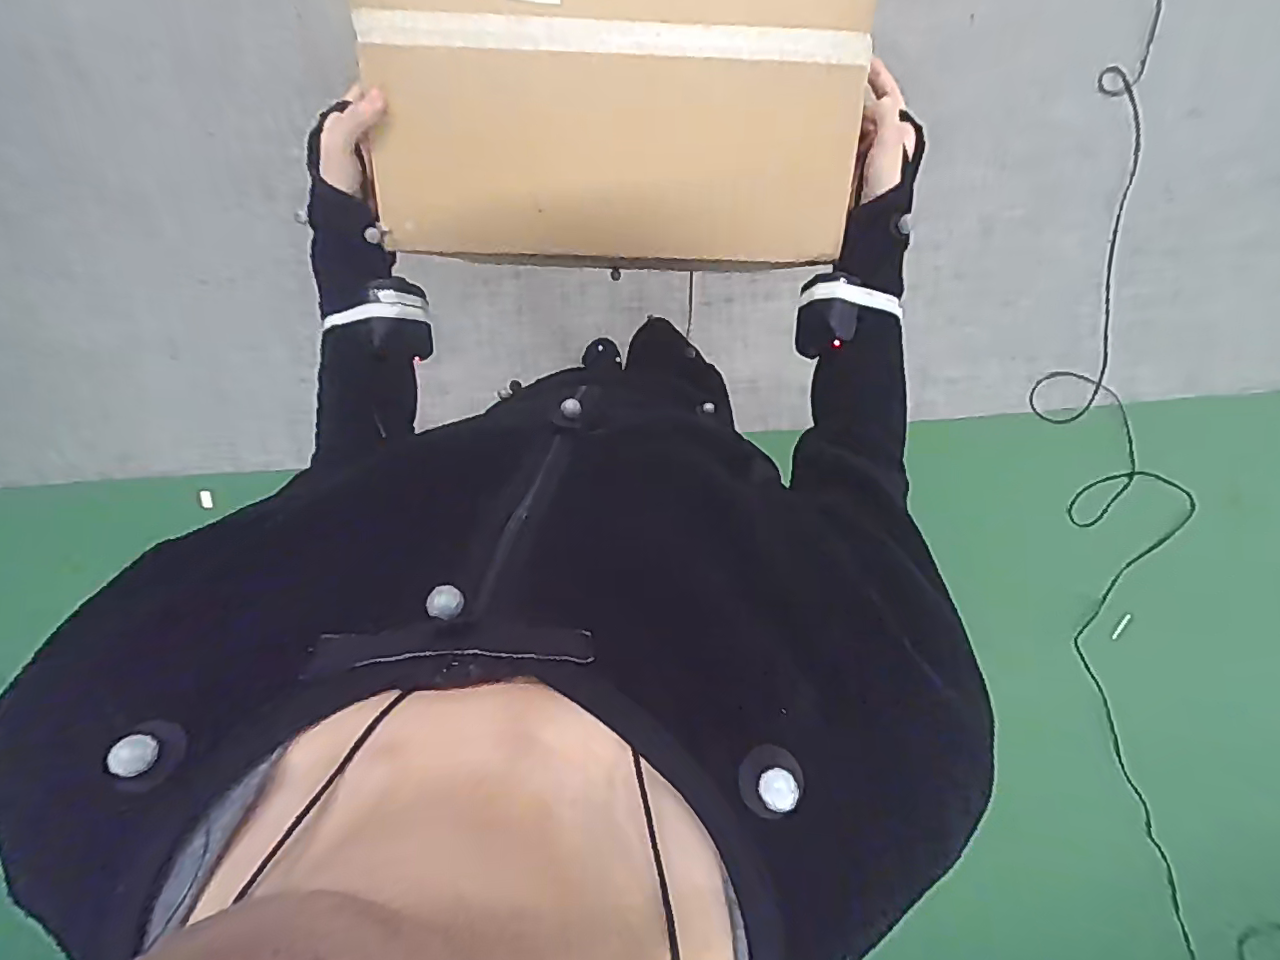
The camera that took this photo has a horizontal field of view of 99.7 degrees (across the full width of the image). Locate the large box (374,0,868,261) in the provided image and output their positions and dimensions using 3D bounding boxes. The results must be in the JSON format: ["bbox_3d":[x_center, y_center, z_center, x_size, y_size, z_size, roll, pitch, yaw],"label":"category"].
[{"bbox_3d":[-0.016,-0.406,0.581,0.408,0.320,0.320,0,108,-2],"label":"large box"}]
